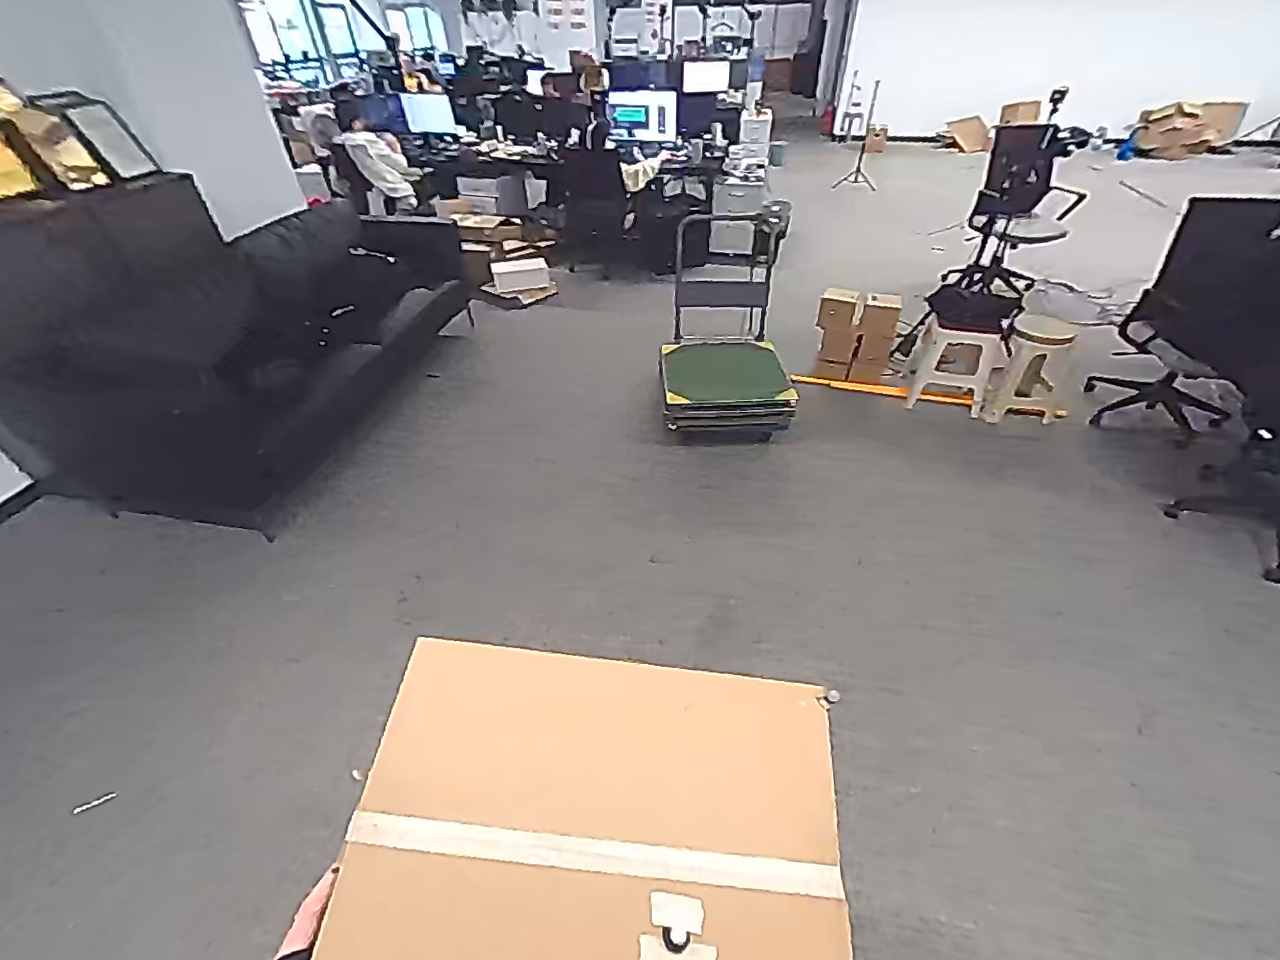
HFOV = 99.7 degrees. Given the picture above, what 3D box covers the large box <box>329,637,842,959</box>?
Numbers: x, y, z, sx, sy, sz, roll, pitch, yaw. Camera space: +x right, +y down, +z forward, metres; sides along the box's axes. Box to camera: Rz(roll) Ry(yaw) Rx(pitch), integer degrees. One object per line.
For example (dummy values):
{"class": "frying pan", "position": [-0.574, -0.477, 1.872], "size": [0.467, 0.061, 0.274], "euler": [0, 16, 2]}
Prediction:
{"class": "large box", "position": [-0.043, 0.388, 0.585], "size": [0.408, 0.320, 0.320], "euler": [7, 57, 0]}
